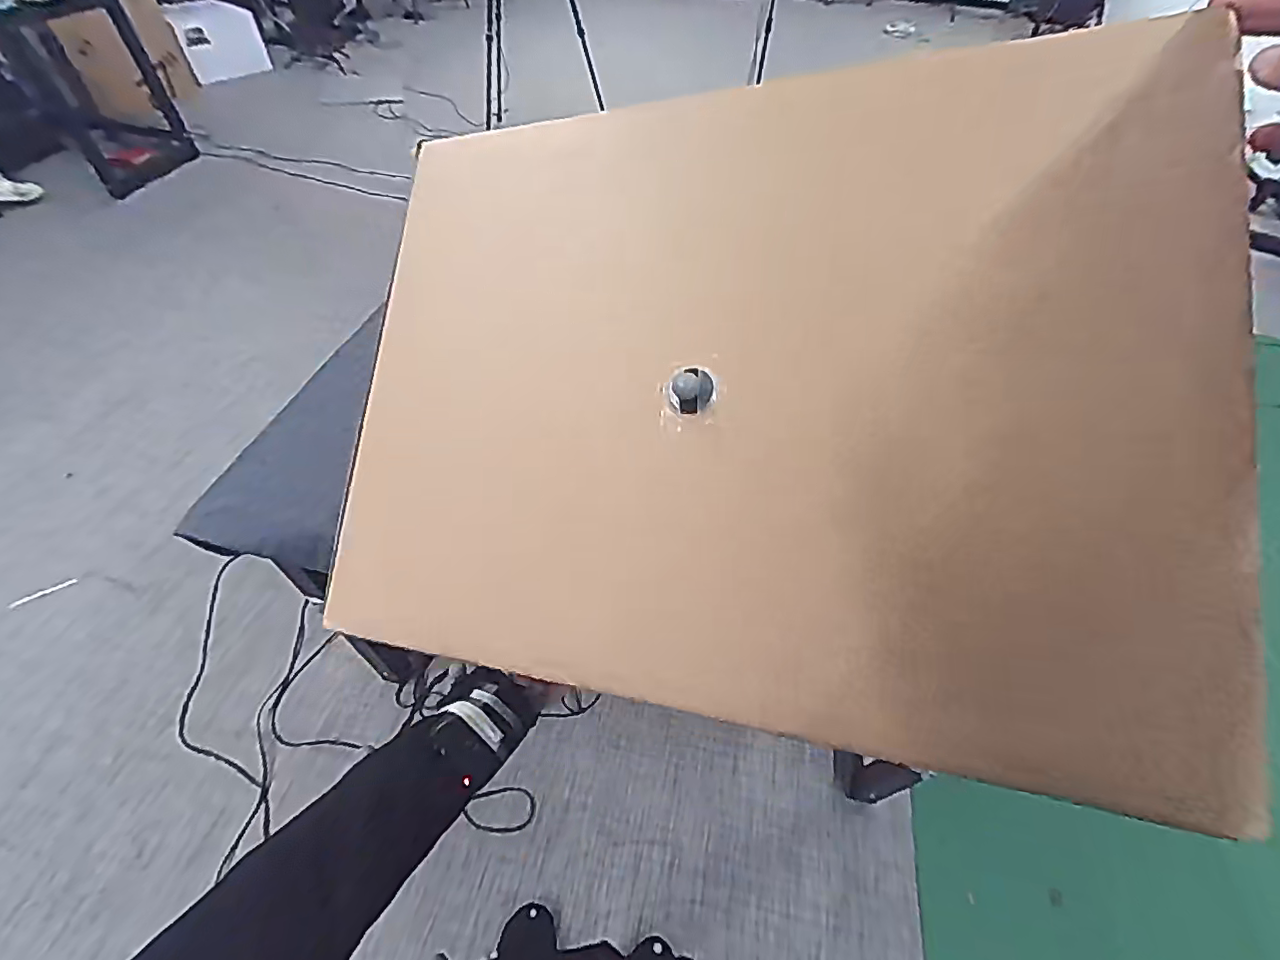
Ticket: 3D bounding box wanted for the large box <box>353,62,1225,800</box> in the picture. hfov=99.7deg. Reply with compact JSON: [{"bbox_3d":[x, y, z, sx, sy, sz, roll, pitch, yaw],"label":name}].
[{"bbox_3d":[0.078,-0.016,0.408,0.408,0.320,0.320,3,81,19],"label":"large box"}]
